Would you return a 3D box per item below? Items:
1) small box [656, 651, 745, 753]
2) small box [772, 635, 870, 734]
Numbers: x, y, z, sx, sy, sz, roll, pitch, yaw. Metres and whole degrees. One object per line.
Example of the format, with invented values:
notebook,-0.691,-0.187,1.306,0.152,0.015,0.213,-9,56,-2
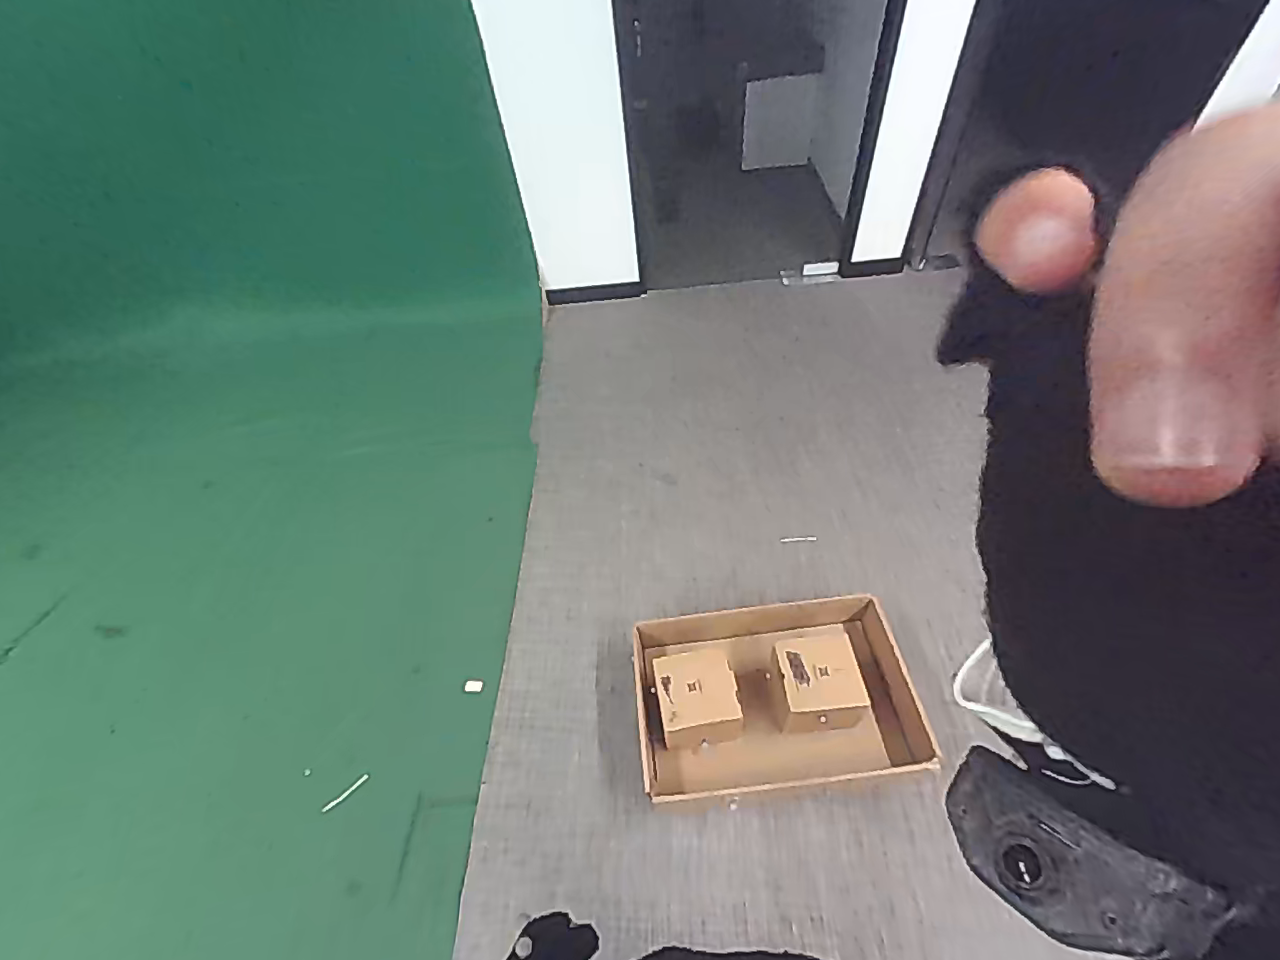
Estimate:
small box,0.136,0.526,1.278,0.179,0.176,0.168,-9,49,-2
small box,0.415,0.486,1.275,0.179,0.176,0.168,-7,50,2
